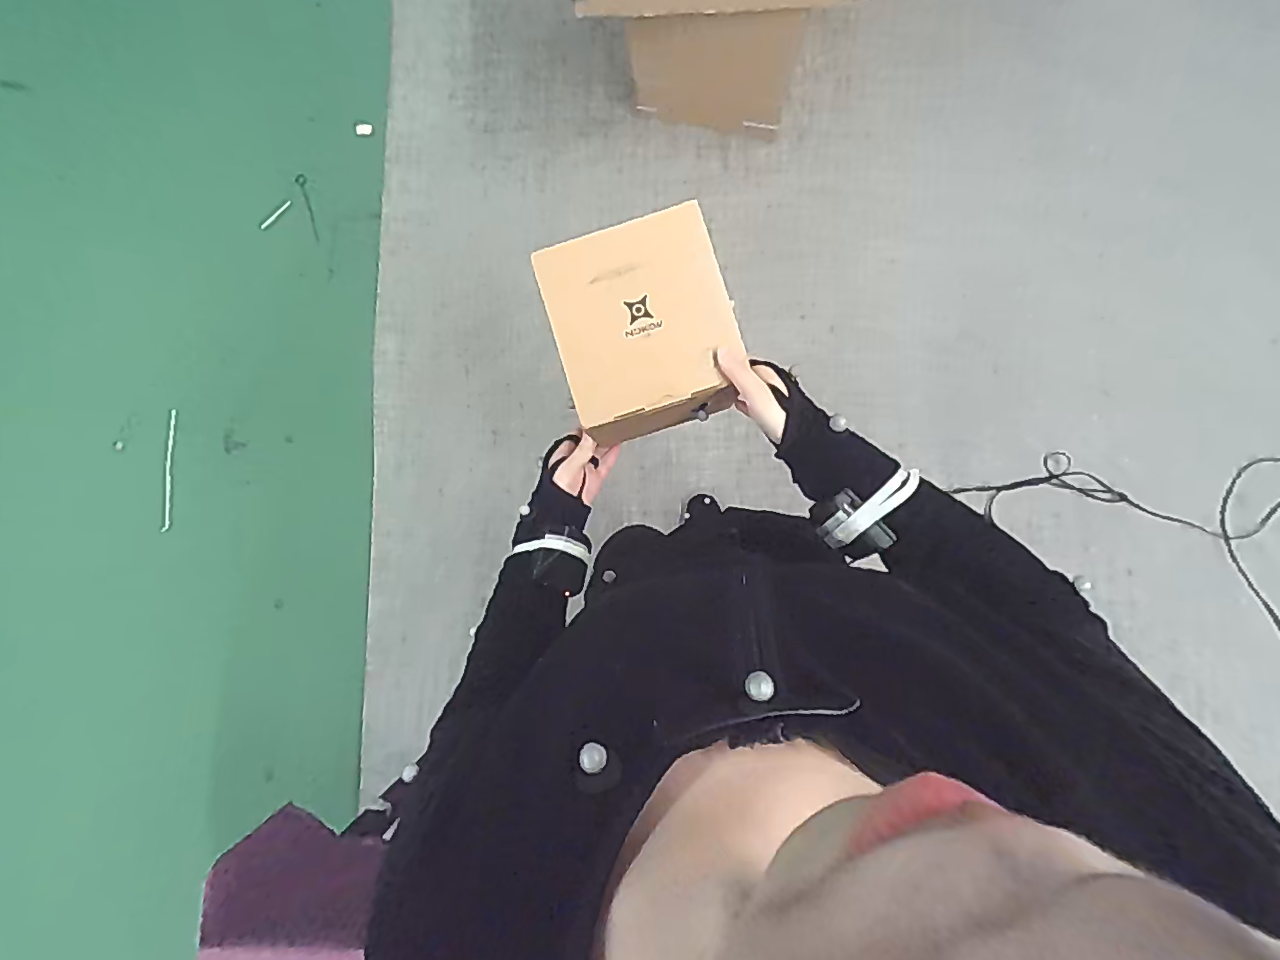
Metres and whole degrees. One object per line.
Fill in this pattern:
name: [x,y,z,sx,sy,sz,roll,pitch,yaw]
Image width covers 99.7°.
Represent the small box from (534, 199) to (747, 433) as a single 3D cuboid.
small box: [0.005,-0.154,0.578,0.168,0.176,0.179,-16,87,2]
